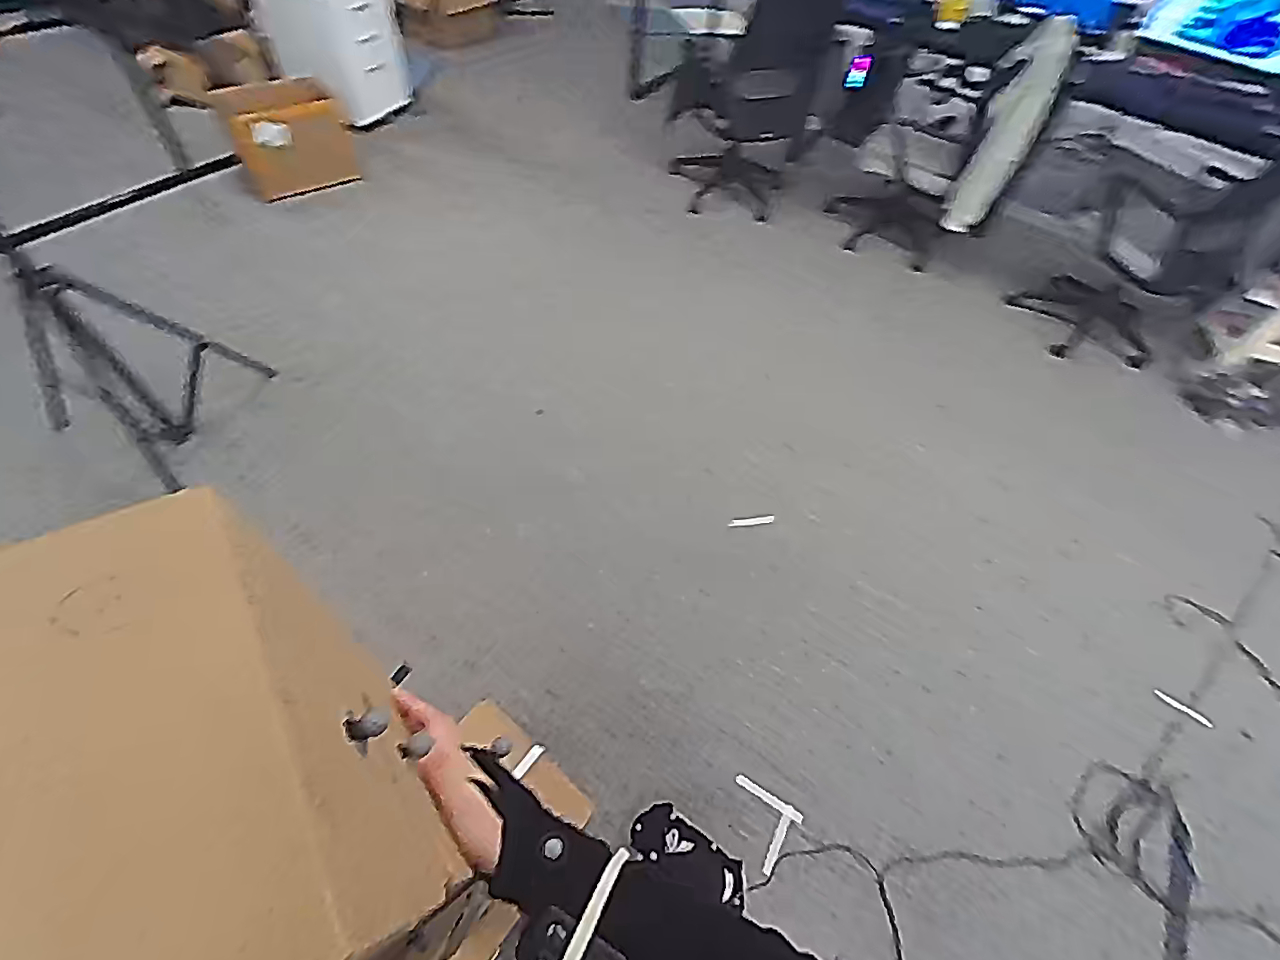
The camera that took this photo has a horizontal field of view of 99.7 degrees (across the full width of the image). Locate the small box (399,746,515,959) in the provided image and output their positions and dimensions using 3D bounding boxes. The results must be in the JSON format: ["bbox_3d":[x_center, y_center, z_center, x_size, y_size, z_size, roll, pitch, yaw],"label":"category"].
[{"bbox_3d":[-0.261,0.425,0.618,0.168,0.176,0.179,29,55,13],"label":"small box"}]

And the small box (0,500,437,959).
[{"bbox_3d":[-0.192,0.142,0.206,0.179,0.176,0.168,-25,64,-24],"label":"small box"}]

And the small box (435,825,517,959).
[{"bbox_3d":[-0.286,0.523,0.747,0.179,0.176,0.168,24,54,10],"label":"small box"}]

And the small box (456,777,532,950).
[{"bbox_3d":[-0.290,0.621,0.877,0.168,0.176,0.179,37,58,17],"label":"small box"}]

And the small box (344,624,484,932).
[{"bbox_3d":[-0.217,0.229,0.343,0.168,0.176,0.179,-30,67,-27],"label":"small box"}]
